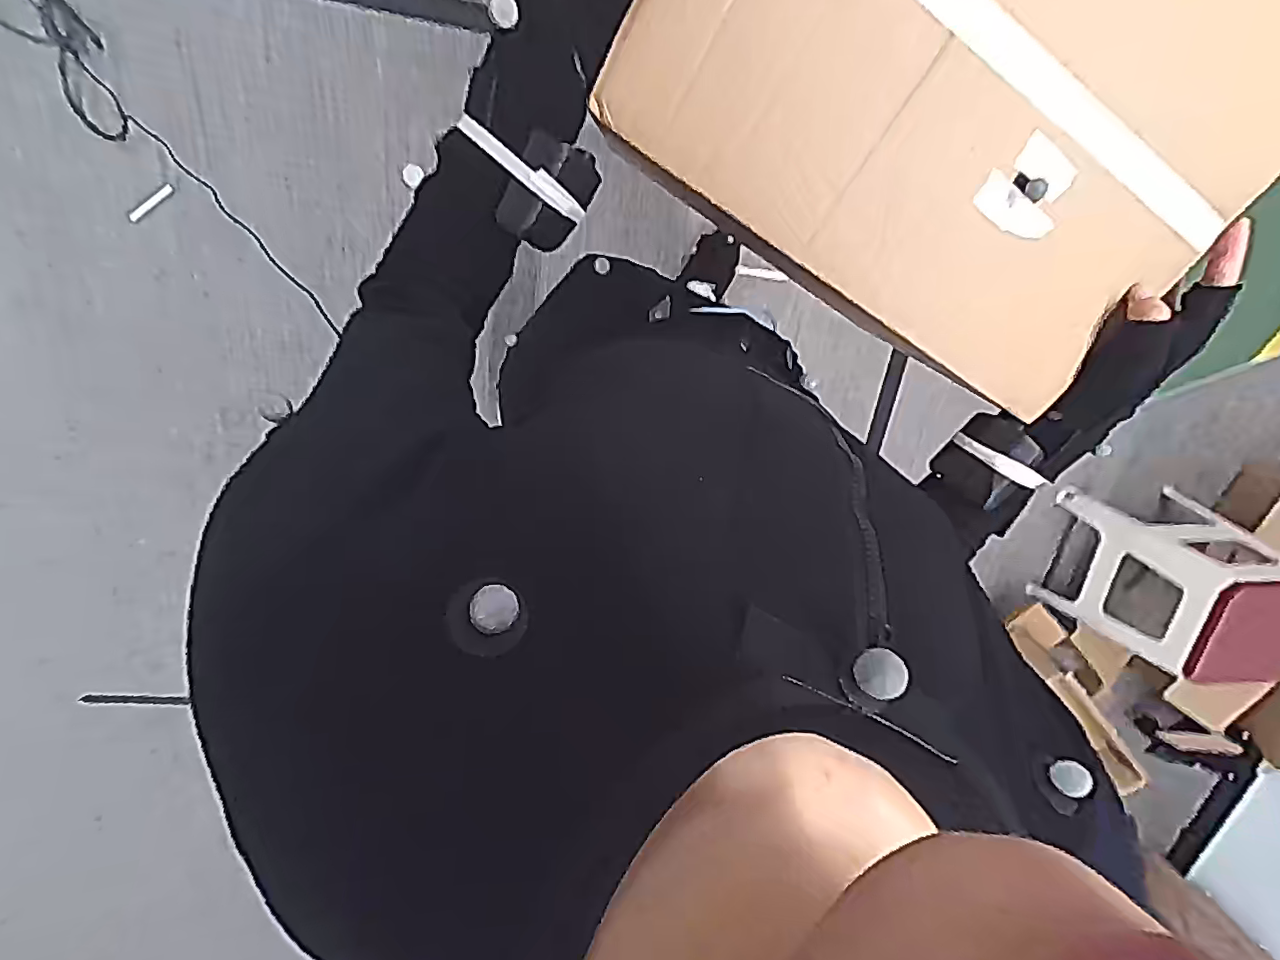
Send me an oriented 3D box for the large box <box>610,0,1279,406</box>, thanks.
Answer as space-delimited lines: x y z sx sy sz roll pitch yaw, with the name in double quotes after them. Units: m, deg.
0.219 -0.330 0.468 0.408 0.320 0.320 28 115 -15 "large box"
